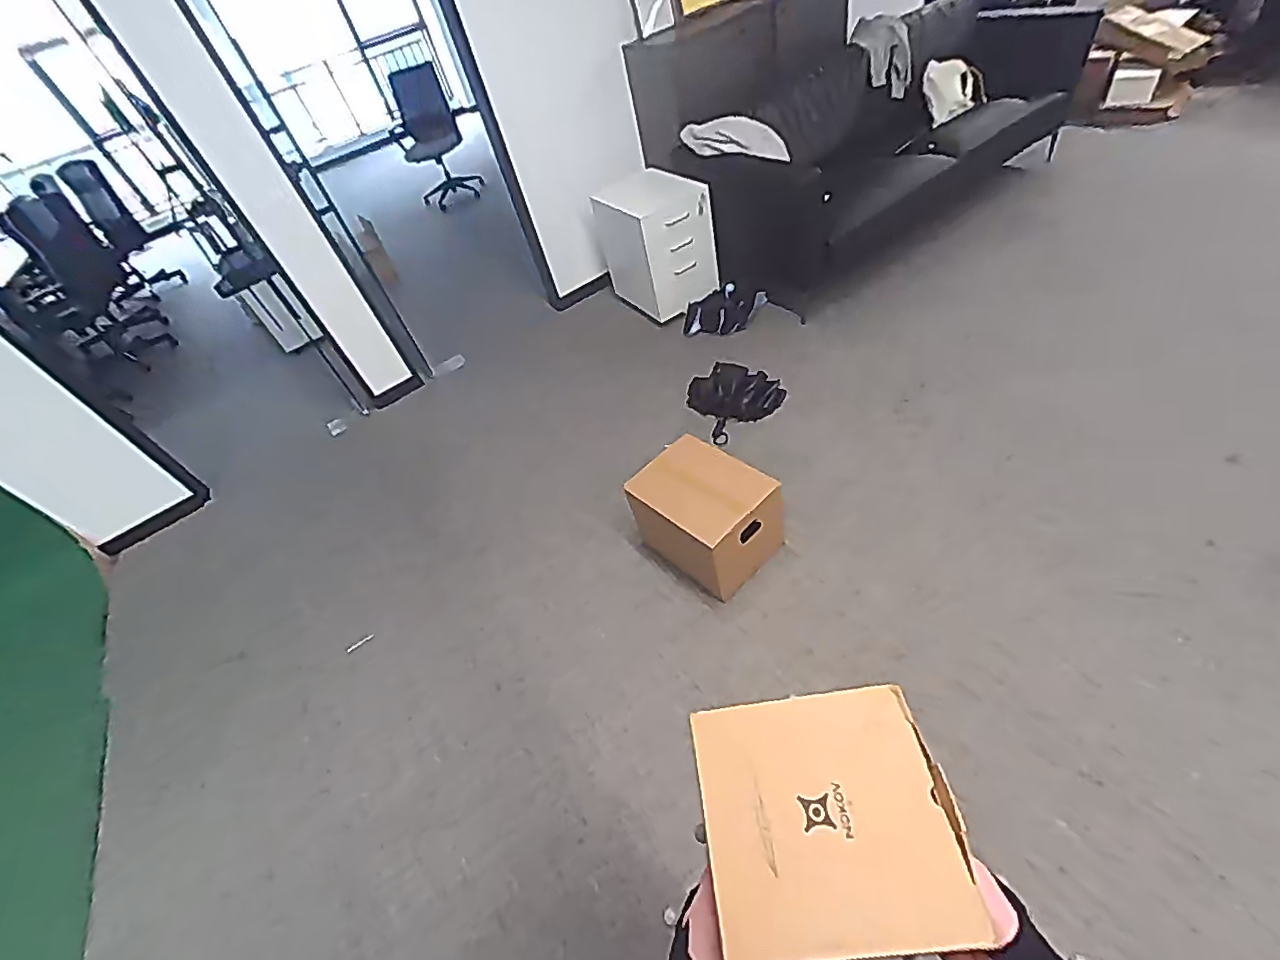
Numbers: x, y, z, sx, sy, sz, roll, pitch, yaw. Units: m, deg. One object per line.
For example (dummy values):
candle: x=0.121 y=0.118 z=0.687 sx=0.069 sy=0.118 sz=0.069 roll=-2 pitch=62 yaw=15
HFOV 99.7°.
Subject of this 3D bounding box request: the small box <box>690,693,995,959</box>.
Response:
small box: x=0.147 y=0.300 z=0.456 sx=0.179 sy=0.176 sz=0.168 roll=-12 pitch=48 yaw=5
